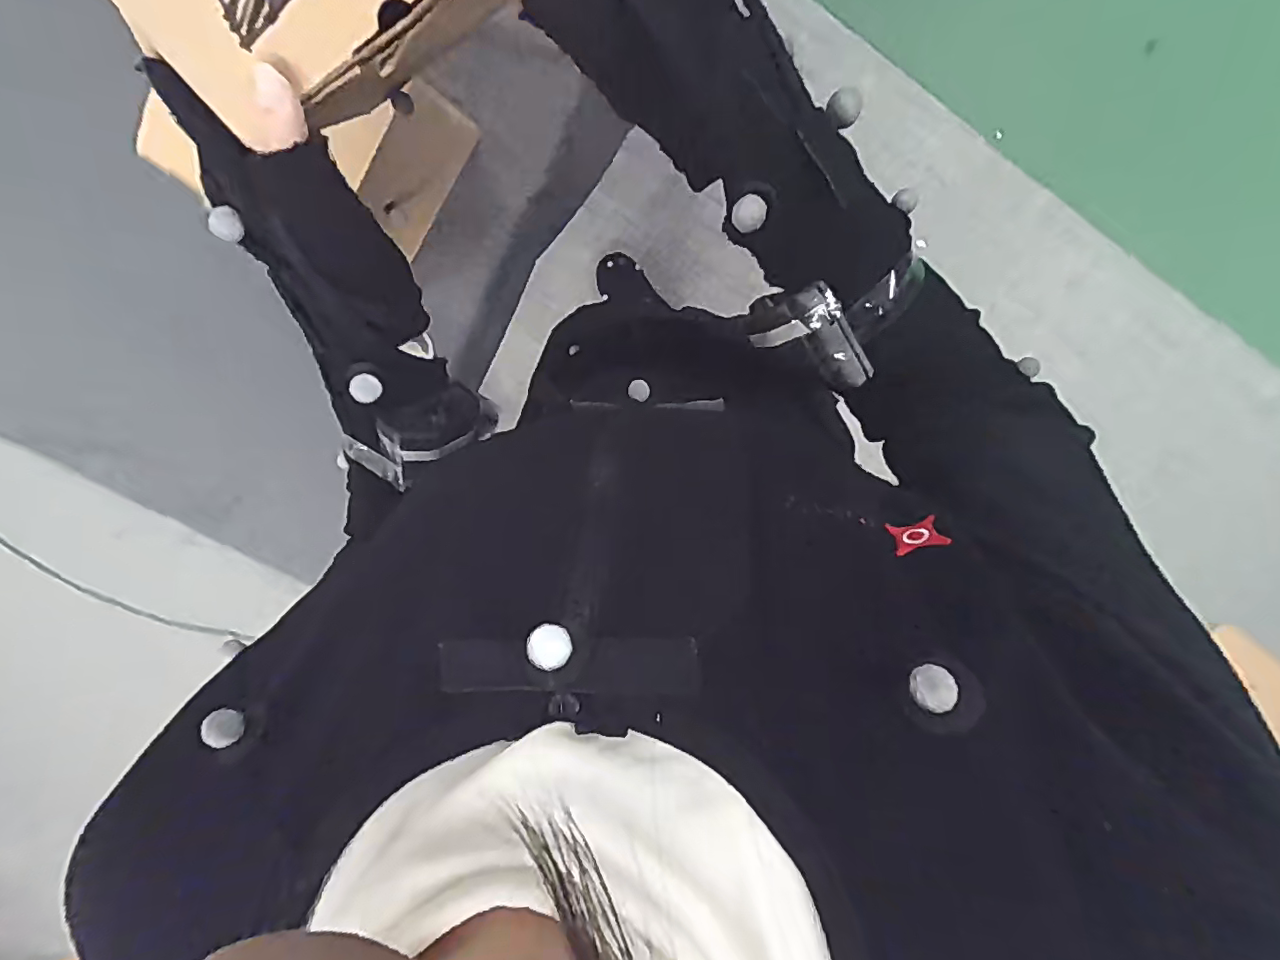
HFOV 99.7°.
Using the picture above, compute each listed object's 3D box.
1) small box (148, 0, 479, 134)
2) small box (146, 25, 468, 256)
[{"bbox_3d":[-0.138,-0.288,0.219,0.168,0.176,0.179,-28,128,17],"label":"small box"},{"bbox_3d":[-0.287,-0.329,0.501,0.168,0.176,0.179,33,109,-8],"label":"small box"}]
